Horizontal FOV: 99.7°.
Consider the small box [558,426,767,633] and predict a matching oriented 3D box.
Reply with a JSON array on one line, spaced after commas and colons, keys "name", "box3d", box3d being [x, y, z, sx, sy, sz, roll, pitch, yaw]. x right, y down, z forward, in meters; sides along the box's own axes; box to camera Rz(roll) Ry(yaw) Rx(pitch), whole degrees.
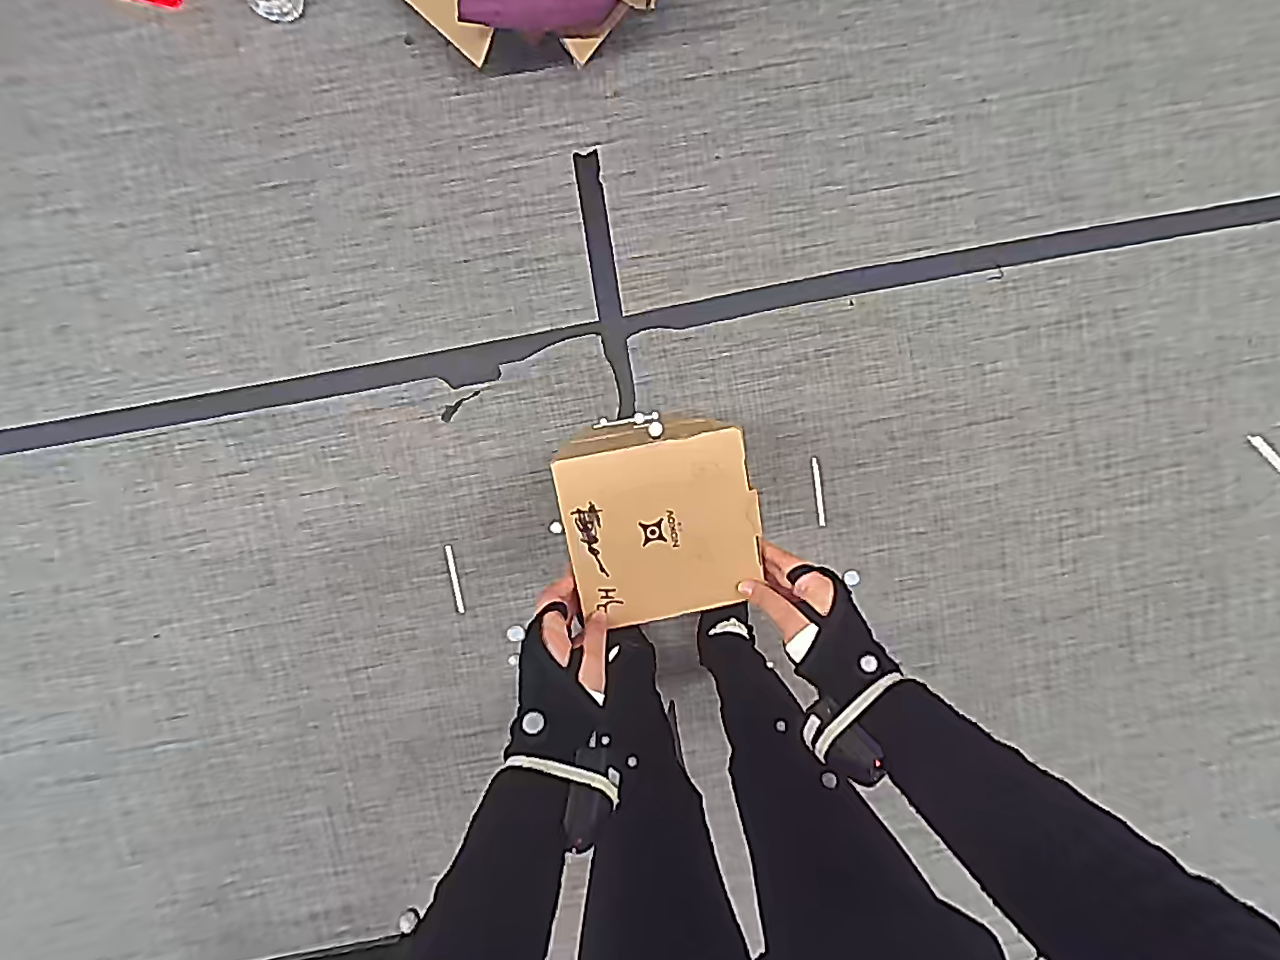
[{"name": "small box", "box3d": [0.016, 0.038, 0.574, 0.179, 0.176, 0.168, -10, 98, -3]}]
